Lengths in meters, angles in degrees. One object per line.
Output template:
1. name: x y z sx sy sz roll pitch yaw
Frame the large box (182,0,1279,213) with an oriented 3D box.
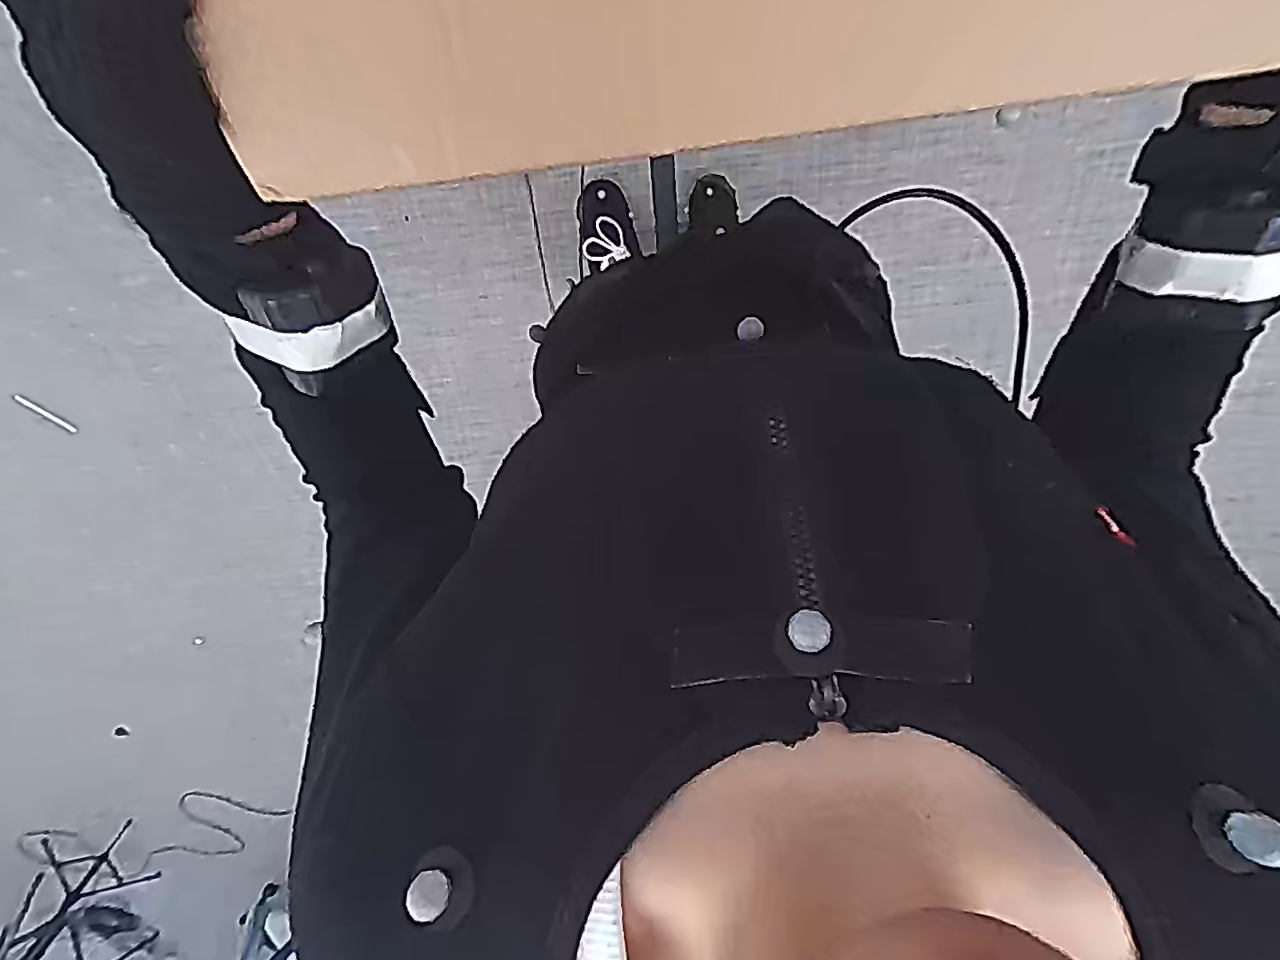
1. large box: 0.024 -0.349 0.239 0.408 0.320 0.320 -6 129 3
